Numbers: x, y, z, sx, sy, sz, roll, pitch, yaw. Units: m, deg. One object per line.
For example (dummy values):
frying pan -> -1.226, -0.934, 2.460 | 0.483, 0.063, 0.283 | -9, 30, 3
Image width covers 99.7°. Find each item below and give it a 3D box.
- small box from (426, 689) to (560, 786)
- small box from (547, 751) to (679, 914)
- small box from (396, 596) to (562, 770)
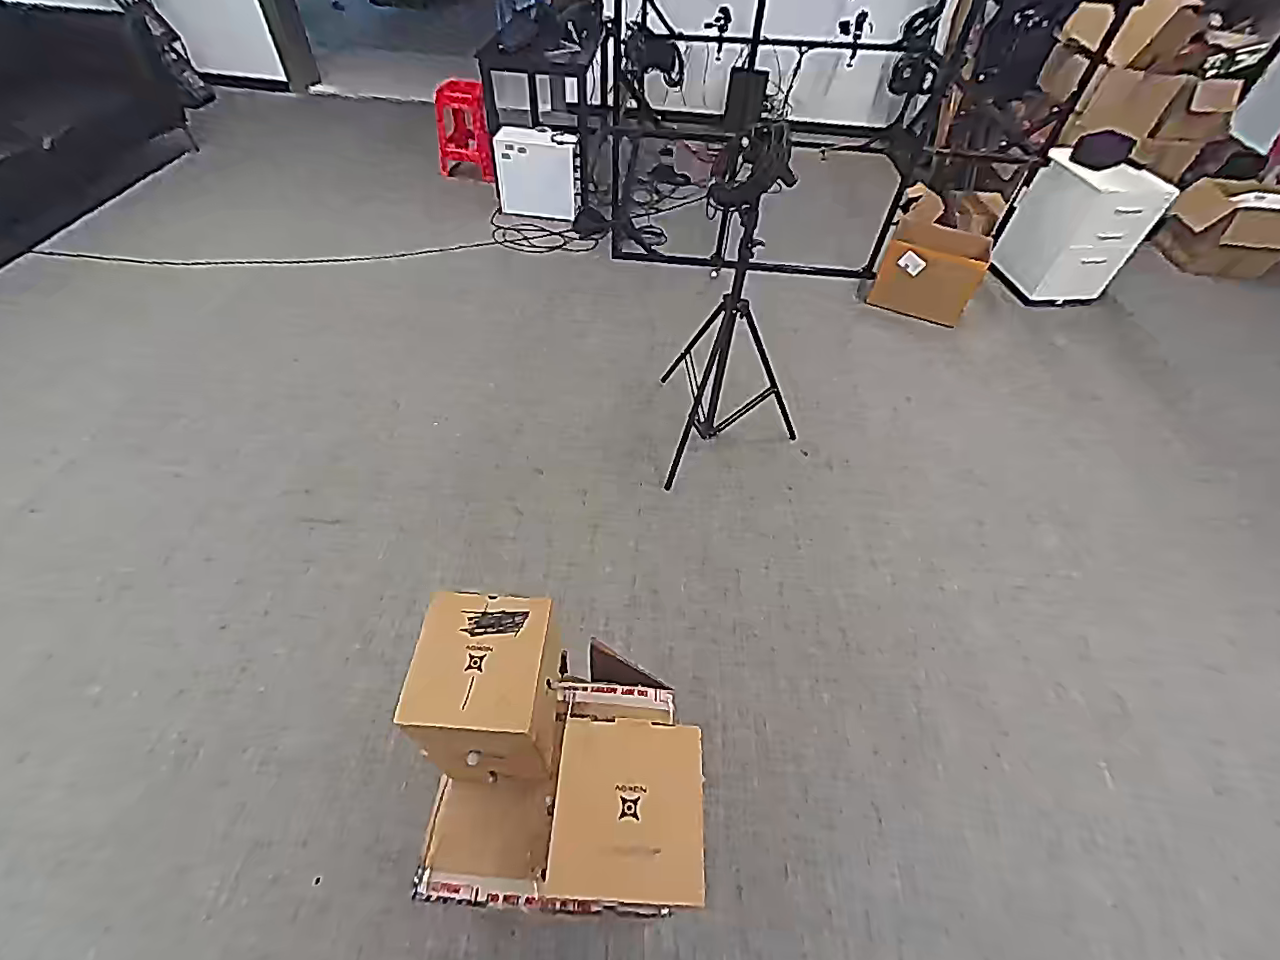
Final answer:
small box -> -0.224, 0.383, 0.879 | 0.168, 0.176, 0.179 | 0, 51, -1
small box -> -0.034, 0.513, 0.784 | 0.168, 0.176, 0.179 | 5, 50, -1
small box -> -0.205, 0.283, 0.749 | 0.168, 0.176, 0.179 | 3, 52, 1
